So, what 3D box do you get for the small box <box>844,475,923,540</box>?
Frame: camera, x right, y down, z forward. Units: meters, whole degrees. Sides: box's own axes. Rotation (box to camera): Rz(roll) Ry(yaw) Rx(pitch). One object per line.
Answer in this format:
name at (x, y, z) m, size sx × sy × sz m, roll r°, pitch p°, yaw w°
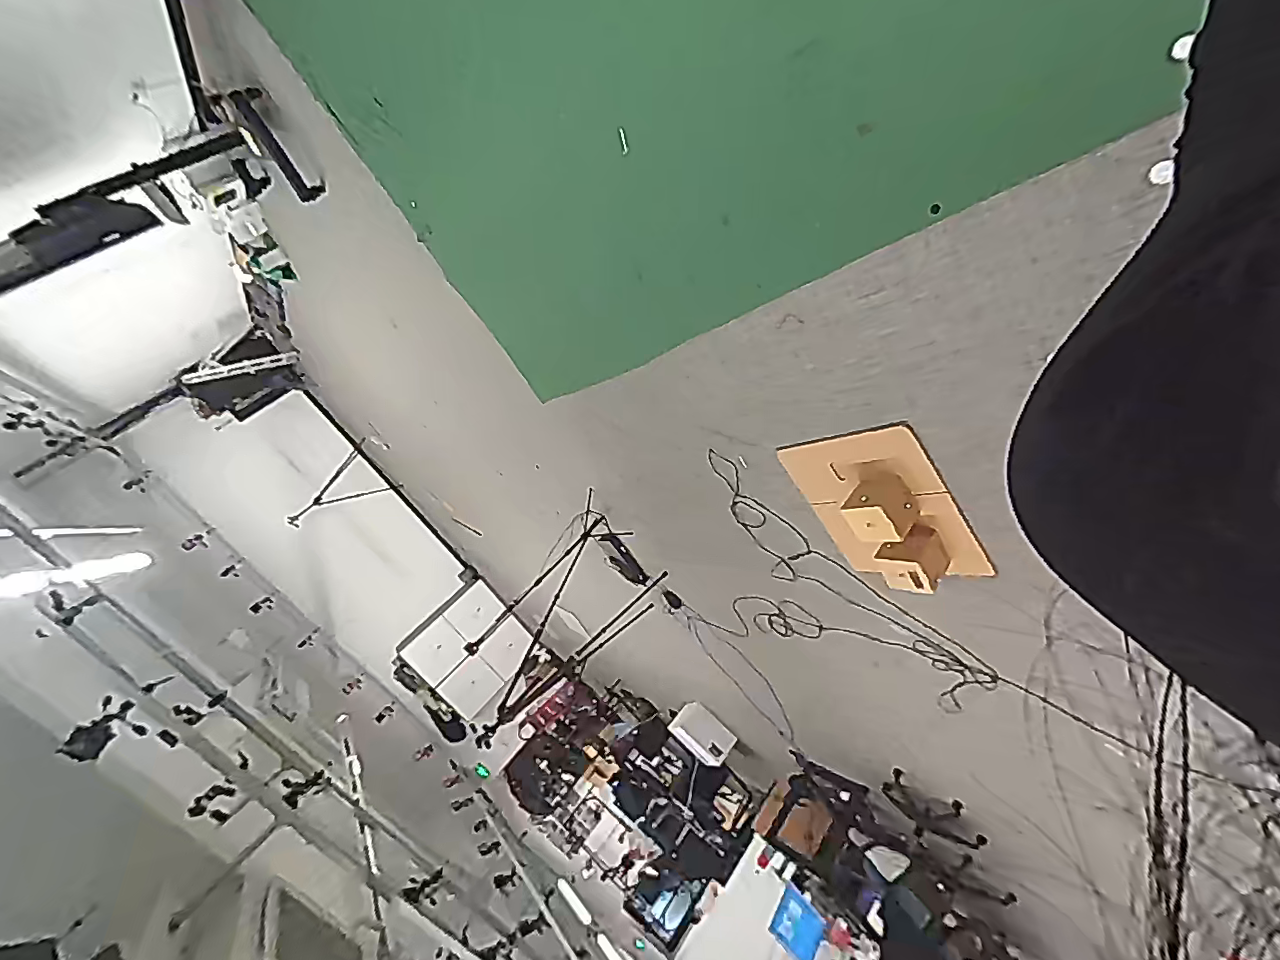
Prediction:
small box at (0.892, 0.103, 1.975) m, size 0.168 × 0.176 × 0.179 m, roll 52°, pitch 152°, yaw -13°
